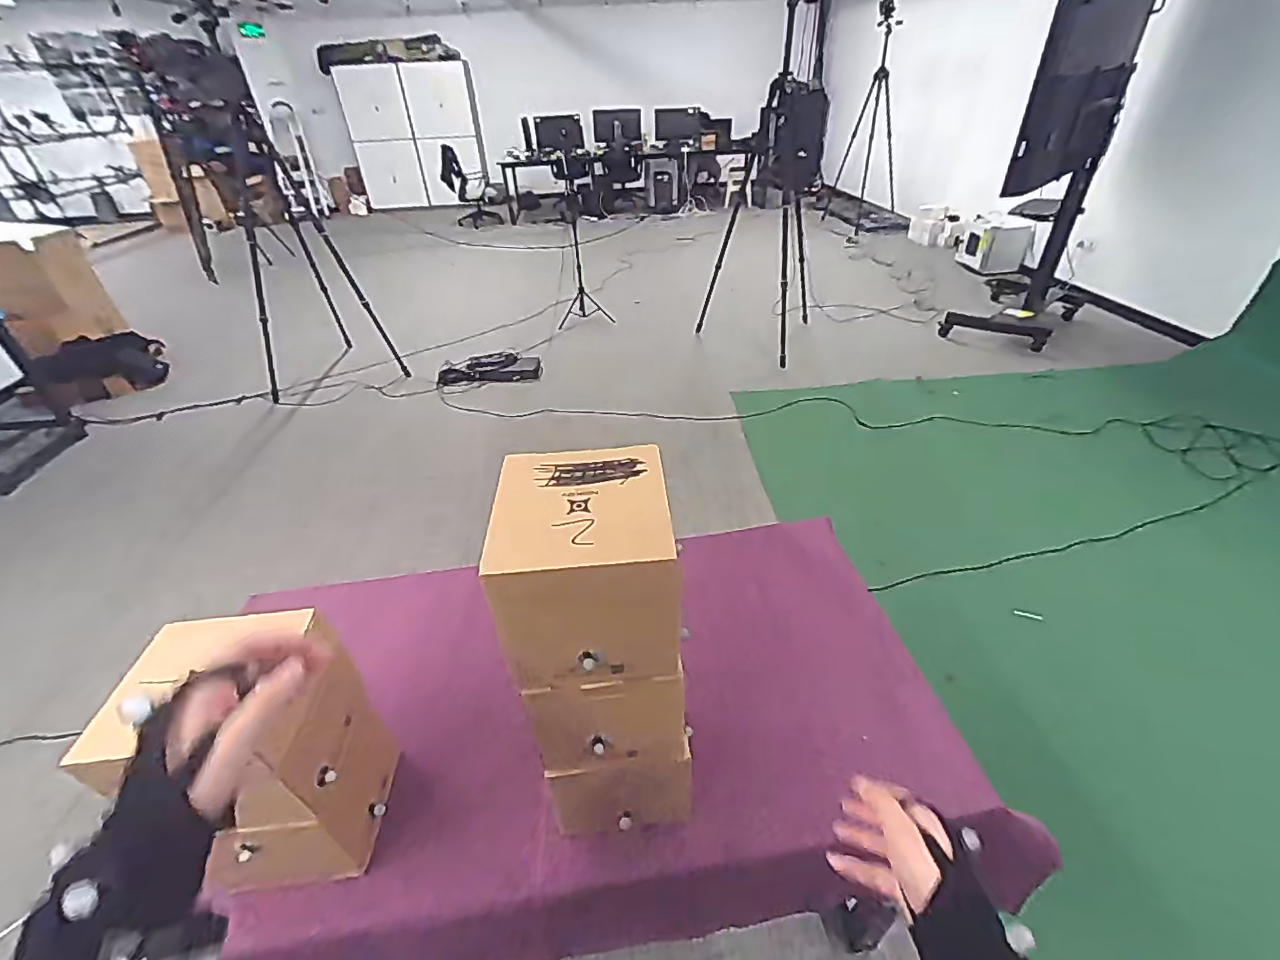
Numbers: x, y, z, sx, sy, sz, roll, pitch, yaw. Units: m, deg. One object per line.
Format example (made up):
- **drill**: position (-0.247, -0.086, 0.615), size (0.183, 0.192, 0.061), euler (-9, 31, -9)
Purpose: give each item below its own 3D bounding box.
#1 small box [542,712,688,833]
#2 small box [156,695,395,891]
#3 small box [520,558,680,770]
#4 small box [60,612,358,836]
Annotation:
- **small box**: position (-0.035, 0.358, 0.748), size (0.179, 0.176, 0.168), euler (-5, 36, -4)
- **small box**: position (-0.452, 0.409, 0.708), size (0.179, 0.176, 0.168), euler (-4, 37, -3)
- **small box**: position (-0.045, 0.220, 0.660), size (0.168, 0.176, 0.179), euler (-5, 37, -3)
- **small box**: position (-0.453, 0.275, 0.613), size (0.179, 0.176, 0.168), euler (-6, 37, -3)
